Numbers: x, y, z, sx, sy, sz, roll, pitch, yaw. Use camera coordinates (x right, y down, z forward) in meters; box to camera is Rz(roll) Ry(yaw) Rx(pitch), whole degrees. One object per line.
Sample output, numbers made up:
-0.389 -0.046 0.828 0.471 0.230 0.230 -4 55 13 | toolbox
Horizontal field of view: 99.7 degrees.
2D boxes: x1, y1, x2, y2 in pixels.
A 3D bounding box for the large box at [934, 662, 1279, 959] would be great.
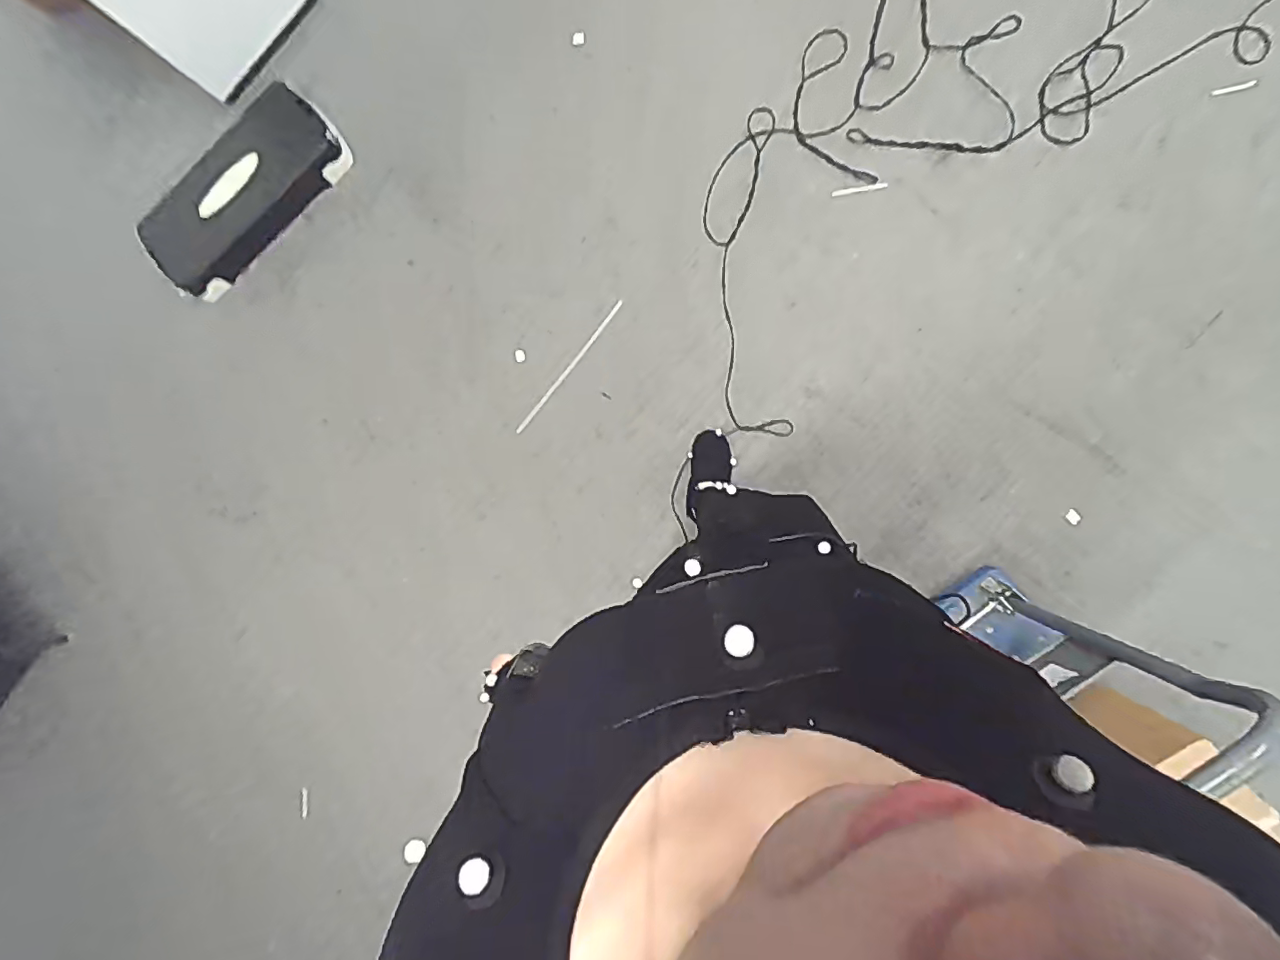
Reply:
0.895 0.638 1.064 0.408 0.320 0.320 -39 83 7 | large box
